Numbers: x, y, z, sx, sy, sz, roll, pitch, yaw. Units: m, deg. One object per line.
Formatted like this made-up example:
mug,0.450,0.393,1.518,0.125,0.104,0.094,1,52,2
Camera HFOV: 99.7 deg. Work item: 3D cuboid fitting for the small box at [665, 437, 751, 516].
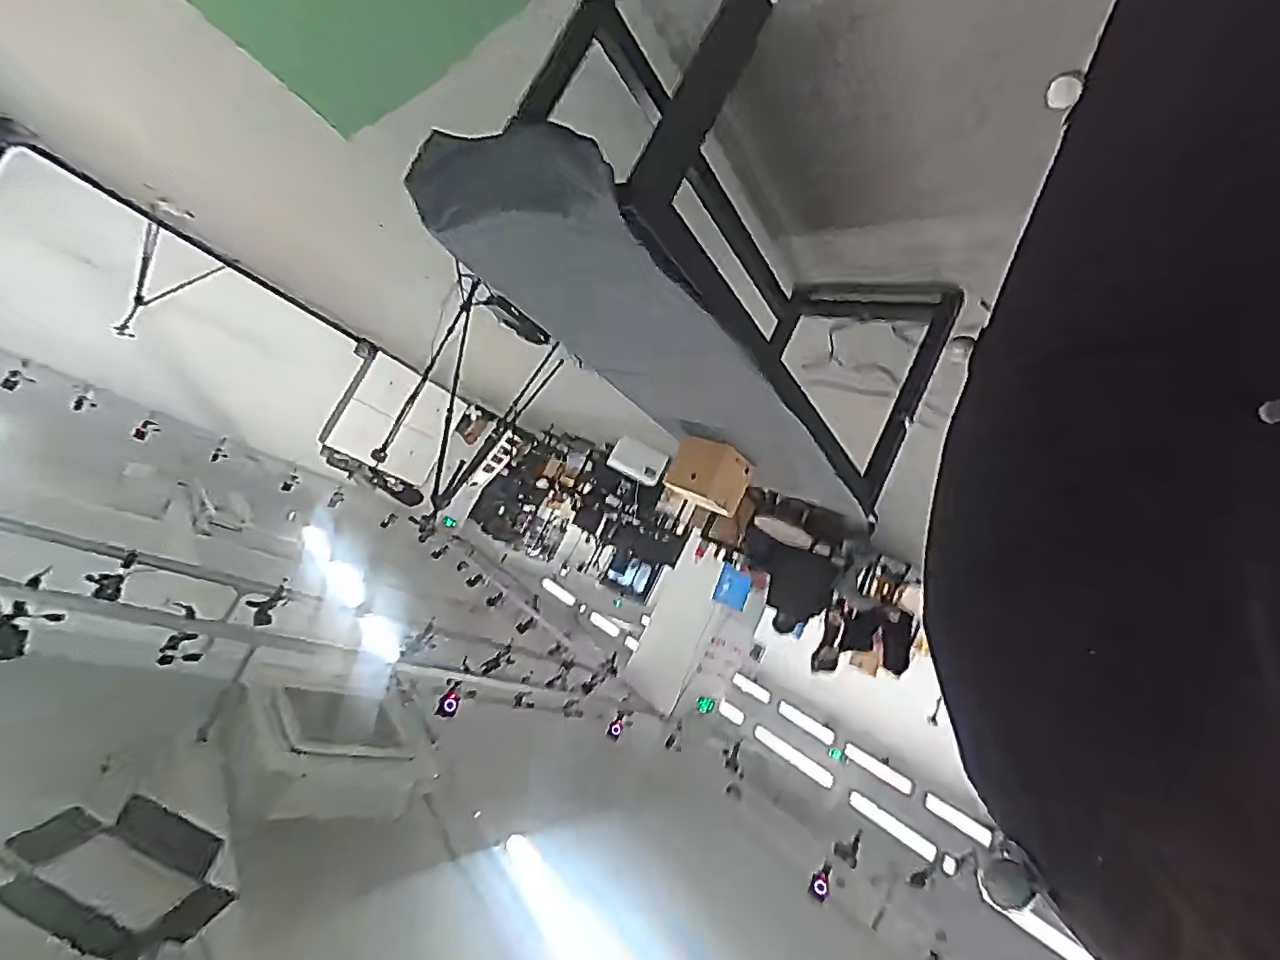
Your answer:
small box,0.212,-0.014,1.629,0.179,0.176,0.168,20,170,44
